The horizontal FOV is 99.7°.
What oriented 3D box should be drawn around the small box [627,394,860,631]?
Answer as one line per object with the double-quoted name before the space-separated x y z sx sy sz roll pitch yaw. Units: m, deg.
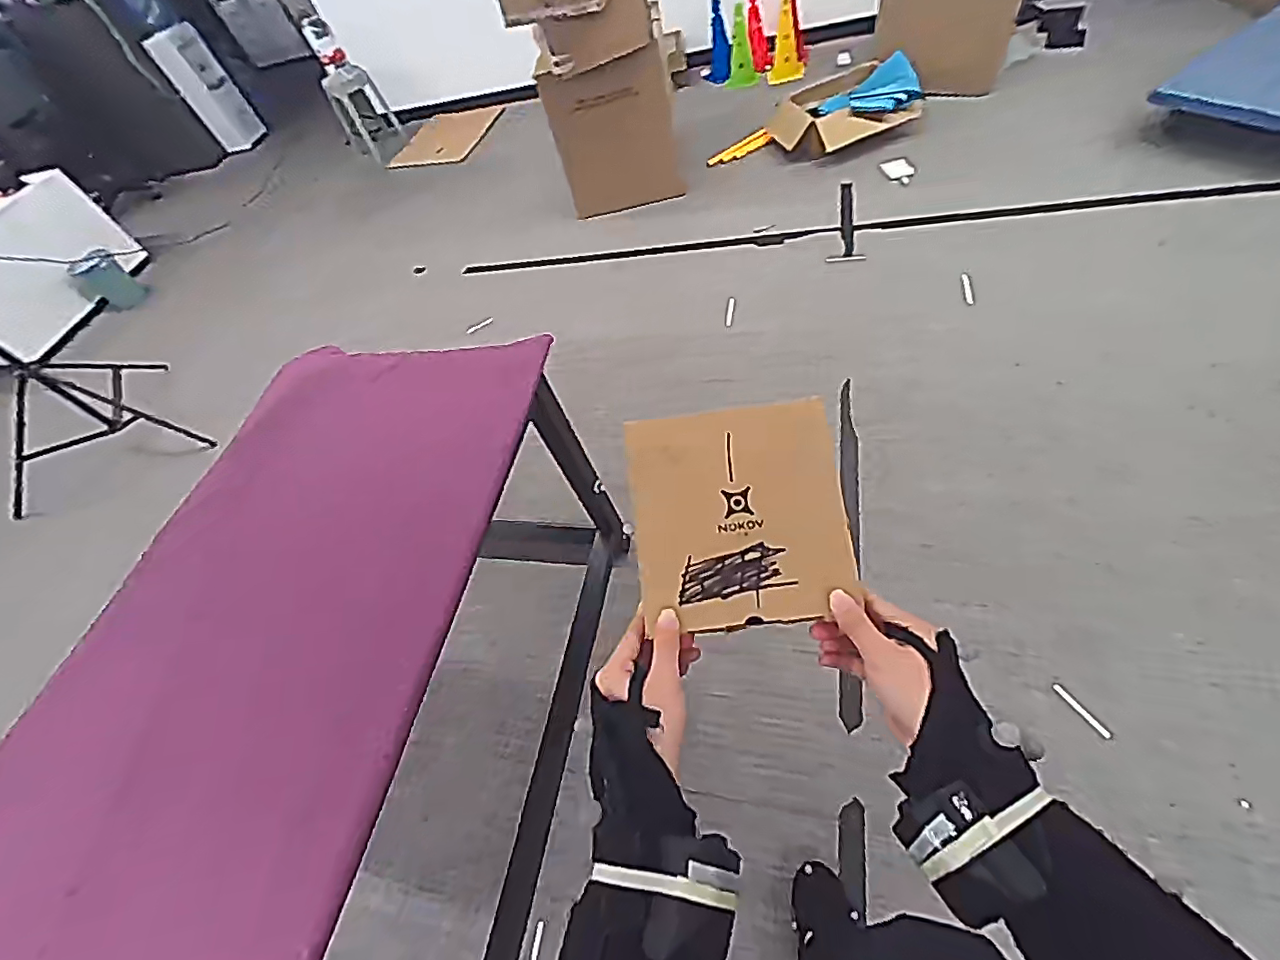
"small box" 0.084 0.039 0.503 0.168 0.176 0.179 -7 76 3
